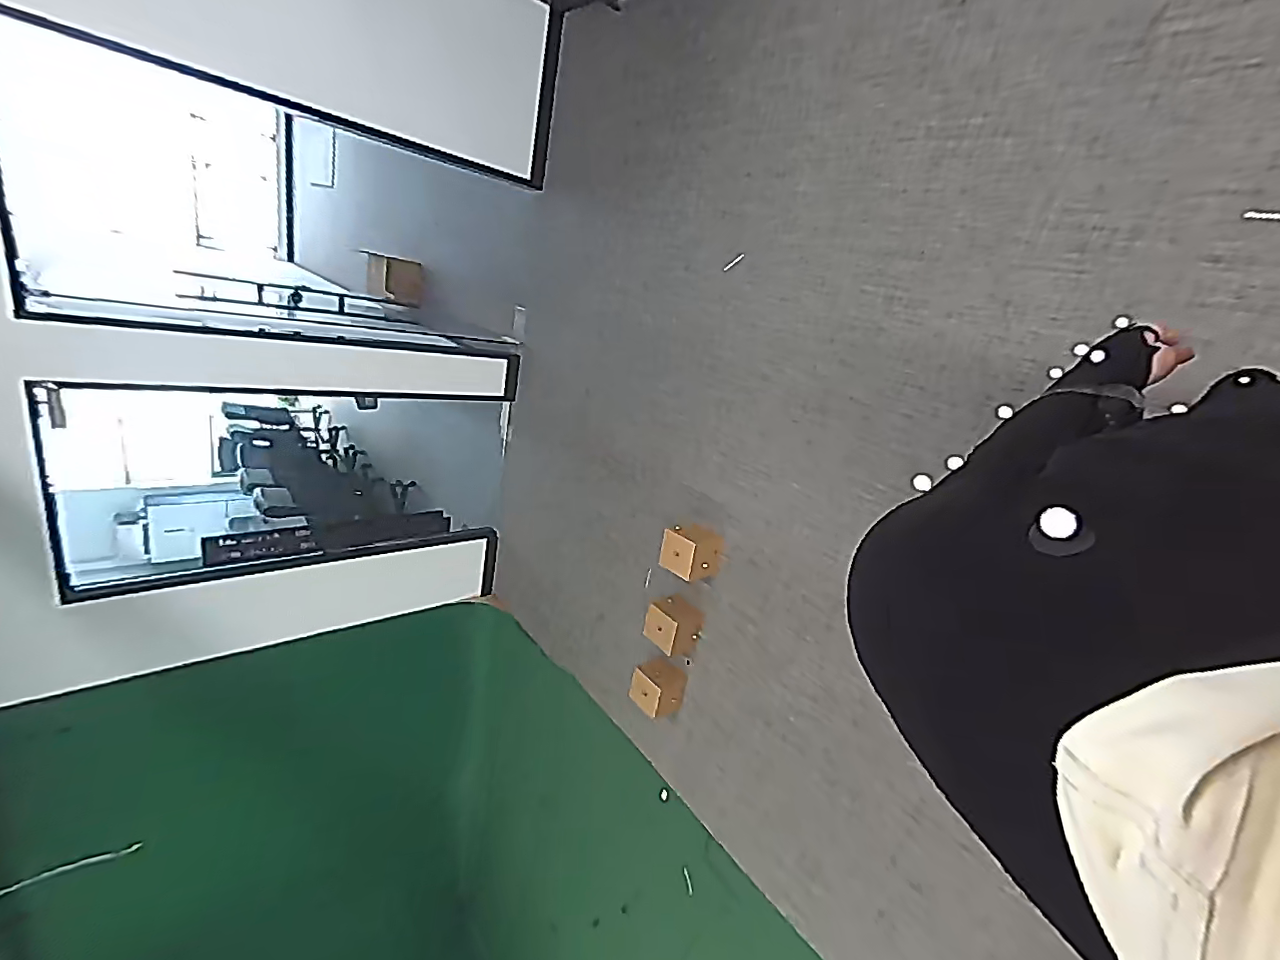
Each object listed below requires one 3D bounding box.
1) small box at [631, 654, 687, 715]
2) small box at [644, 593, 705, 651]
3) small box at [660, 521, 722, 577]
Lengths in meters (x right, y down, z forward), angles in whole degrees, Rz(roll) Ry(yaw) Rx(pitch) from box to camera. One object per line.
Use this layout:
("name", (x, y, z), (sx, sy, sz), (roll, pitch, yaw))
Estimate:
("small box", (0.087, 0.907, 2.423), (0.179, 0.176, 0.168), (30, 115, 43))
("small box", (0.148, 0.601, 2.323), (0.179, 0.176, 0.168), (29, 116, 43))
("small box", (0.212, 0.275, 2.214), (0.179, 0.176, 0.168), (26, 113, 45))
